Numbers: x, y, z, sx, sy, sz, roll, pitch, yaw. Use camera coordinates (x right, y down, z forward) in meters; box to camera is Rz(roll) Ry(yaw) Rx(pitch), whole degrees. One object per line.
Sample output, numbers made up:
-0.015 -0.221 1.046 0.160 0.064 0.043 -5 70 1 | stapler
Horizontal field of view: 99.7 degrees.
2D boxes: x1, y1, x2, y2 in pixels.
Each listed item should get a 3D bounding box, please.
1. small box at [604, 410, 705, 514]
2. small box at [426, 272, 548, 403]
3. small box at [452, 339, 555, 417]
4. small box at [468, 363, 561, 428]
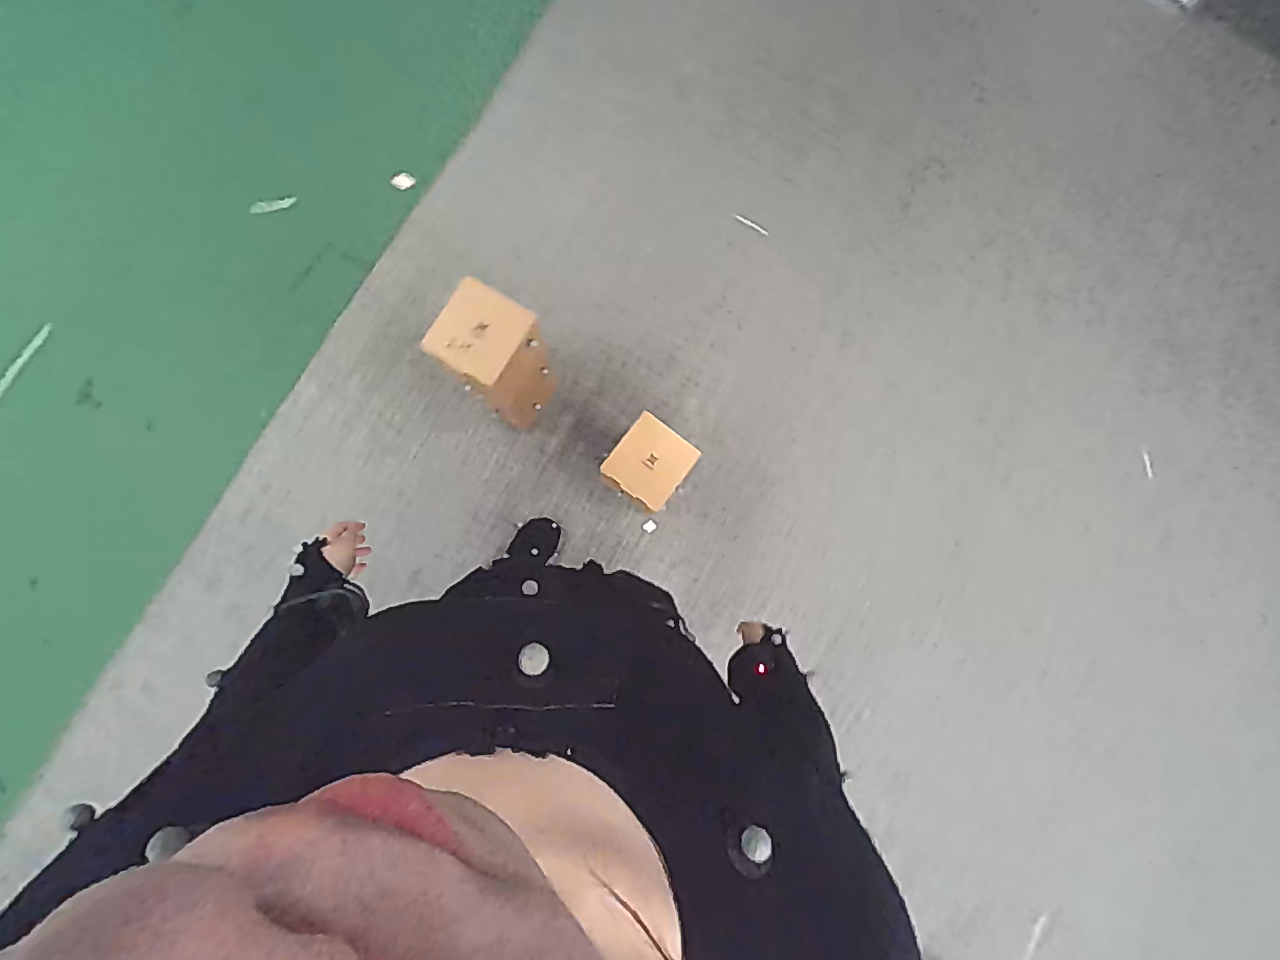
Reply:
0.028 -0.036 1.289 0.168 0.176 0.179 38 84 1 | small box
-0.307 -0.289 1.130 0.168 0.176 0.179 31 83 2 | small box
-0.316 -0.275 1.294 0.168 0.176 0.179 31 84 1 | small box
-0.327 -0.262 1.456 0.168 0.176 0.179 34 84 1 | small box
